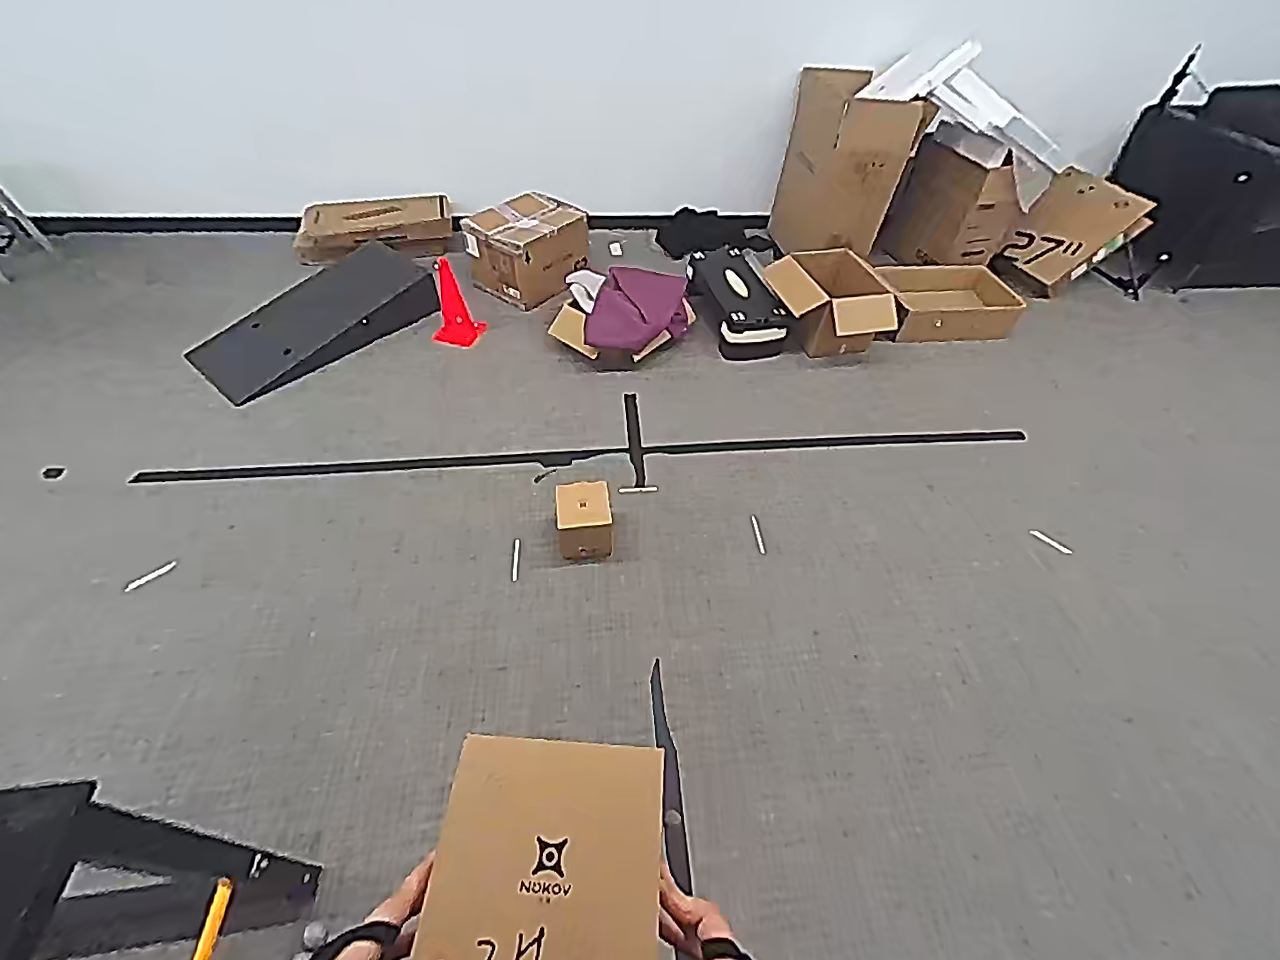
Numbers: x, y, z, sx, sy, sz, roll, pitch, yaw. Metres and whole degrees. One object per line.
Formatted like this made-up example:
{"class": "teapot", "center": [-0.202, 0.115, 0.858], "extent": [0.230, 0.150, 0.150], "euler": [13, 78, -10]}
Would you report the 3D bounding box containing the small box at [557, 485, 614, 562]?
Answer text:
{"class": "small box", "center": [-0.174, 0.140, 1.729], "extent": [0.168, 0.176, 0.179], "euler": [-7, 50, -7]}
